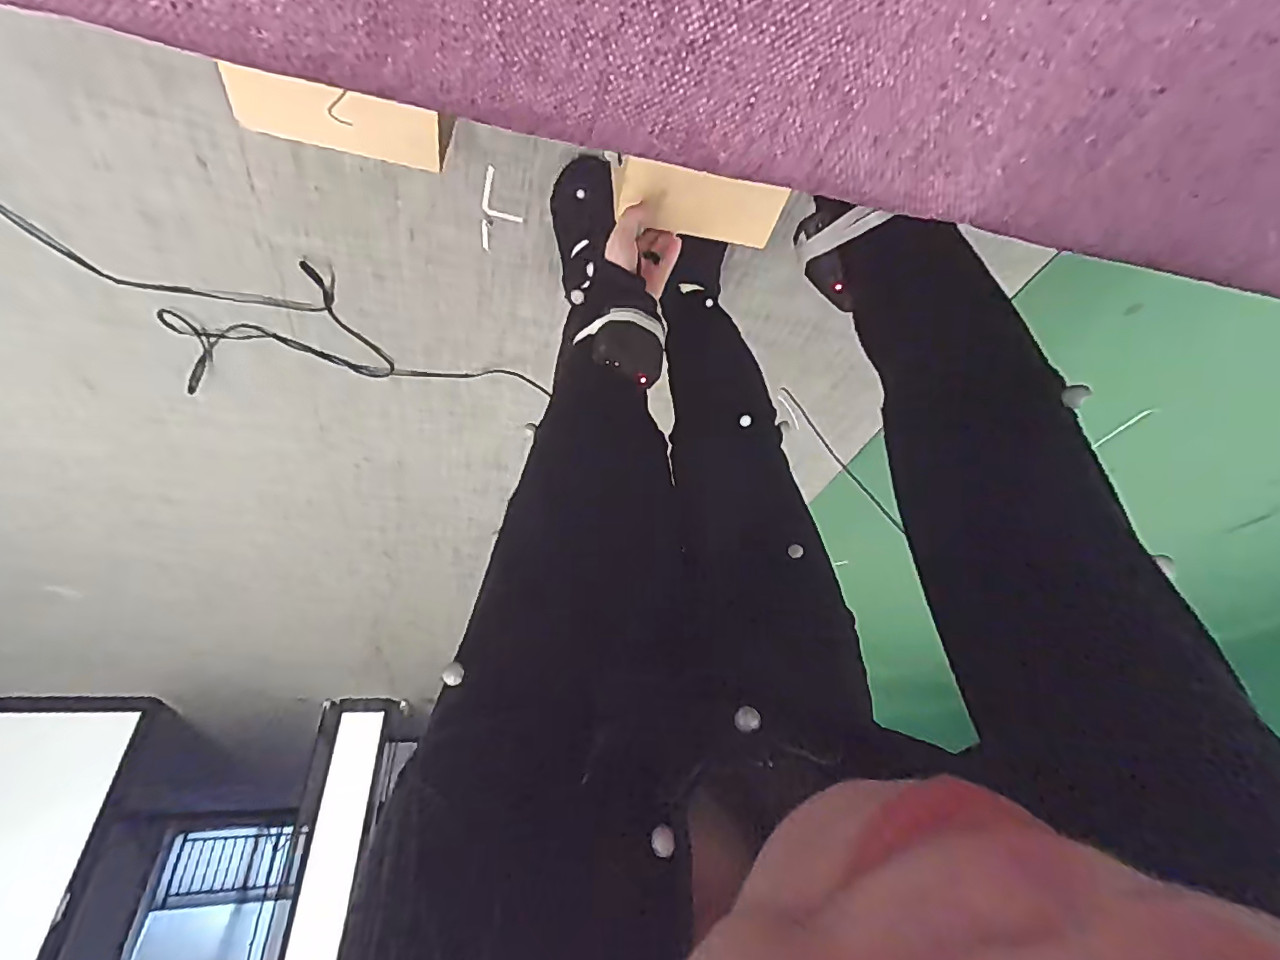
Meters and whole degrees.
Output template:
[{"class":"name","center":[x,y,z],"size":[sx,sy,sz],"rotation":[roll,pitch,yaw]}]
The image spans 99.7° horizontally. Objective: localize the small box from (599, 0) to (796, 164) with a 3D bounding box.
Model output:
[{"class":"small box","center":[0.052,-0.513,0.635],"size":[0.179,0.176,0.168],"rotation":[6,145,-13]}]
